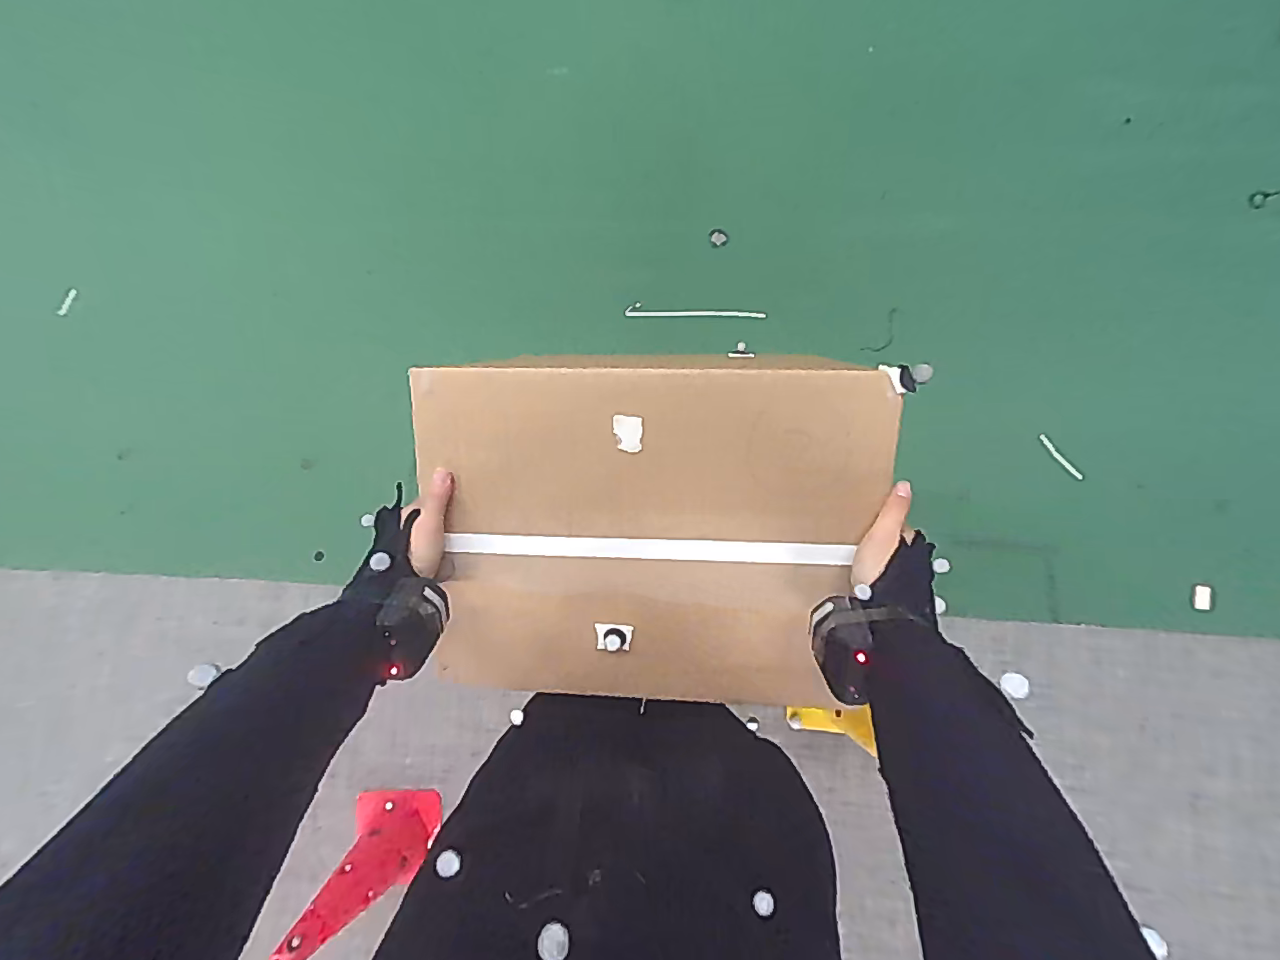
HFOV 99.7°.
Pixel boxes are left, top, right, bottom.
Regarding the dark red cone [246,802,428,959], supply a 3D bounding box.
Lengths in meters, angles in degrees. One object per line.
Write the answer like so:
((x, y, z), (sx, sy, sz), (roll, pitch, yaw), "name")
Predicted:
((-0.566, 0.774, 0.994), (0.202, 0.394, 0.201), (-6, 81, 6), "dark red cone")
